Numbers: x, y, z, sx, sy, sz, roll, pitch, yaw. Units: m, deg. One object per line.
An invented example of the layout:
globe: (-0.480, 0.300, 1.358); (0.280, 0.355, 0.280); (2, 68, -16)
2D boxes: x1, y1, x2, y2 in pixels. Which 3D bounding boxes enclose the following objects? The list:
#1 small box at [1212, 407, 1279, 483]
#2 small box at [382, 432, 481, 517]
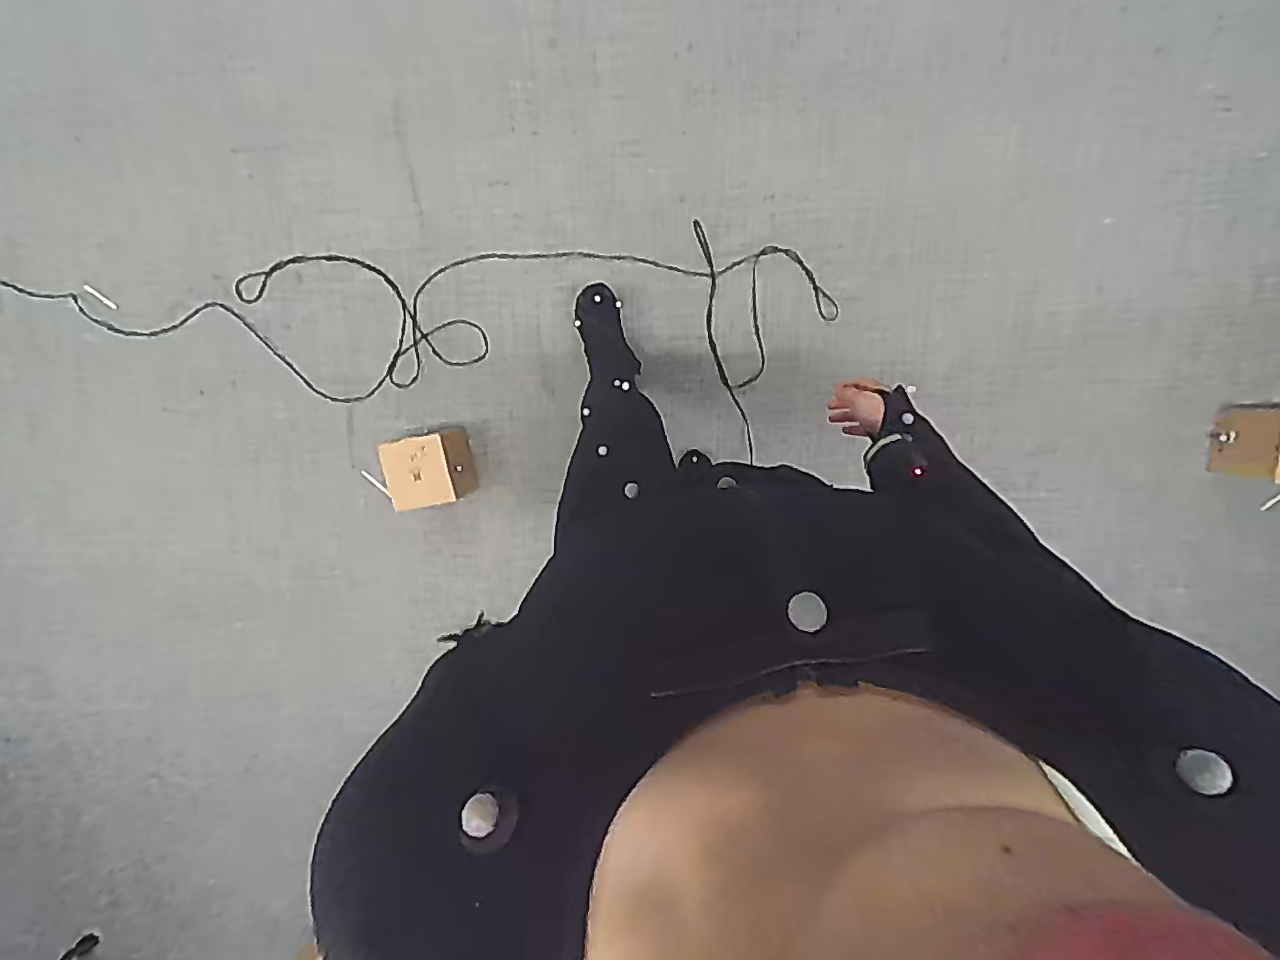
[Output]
small box: (1.573, -0.089, 1.313); (0.179, 0.176, 0.168); (-1, 100, 4)
small box: (-0.534, -0.020, 1.412); (0.168, 0.176, 0.179); (-10, 100, 5)
